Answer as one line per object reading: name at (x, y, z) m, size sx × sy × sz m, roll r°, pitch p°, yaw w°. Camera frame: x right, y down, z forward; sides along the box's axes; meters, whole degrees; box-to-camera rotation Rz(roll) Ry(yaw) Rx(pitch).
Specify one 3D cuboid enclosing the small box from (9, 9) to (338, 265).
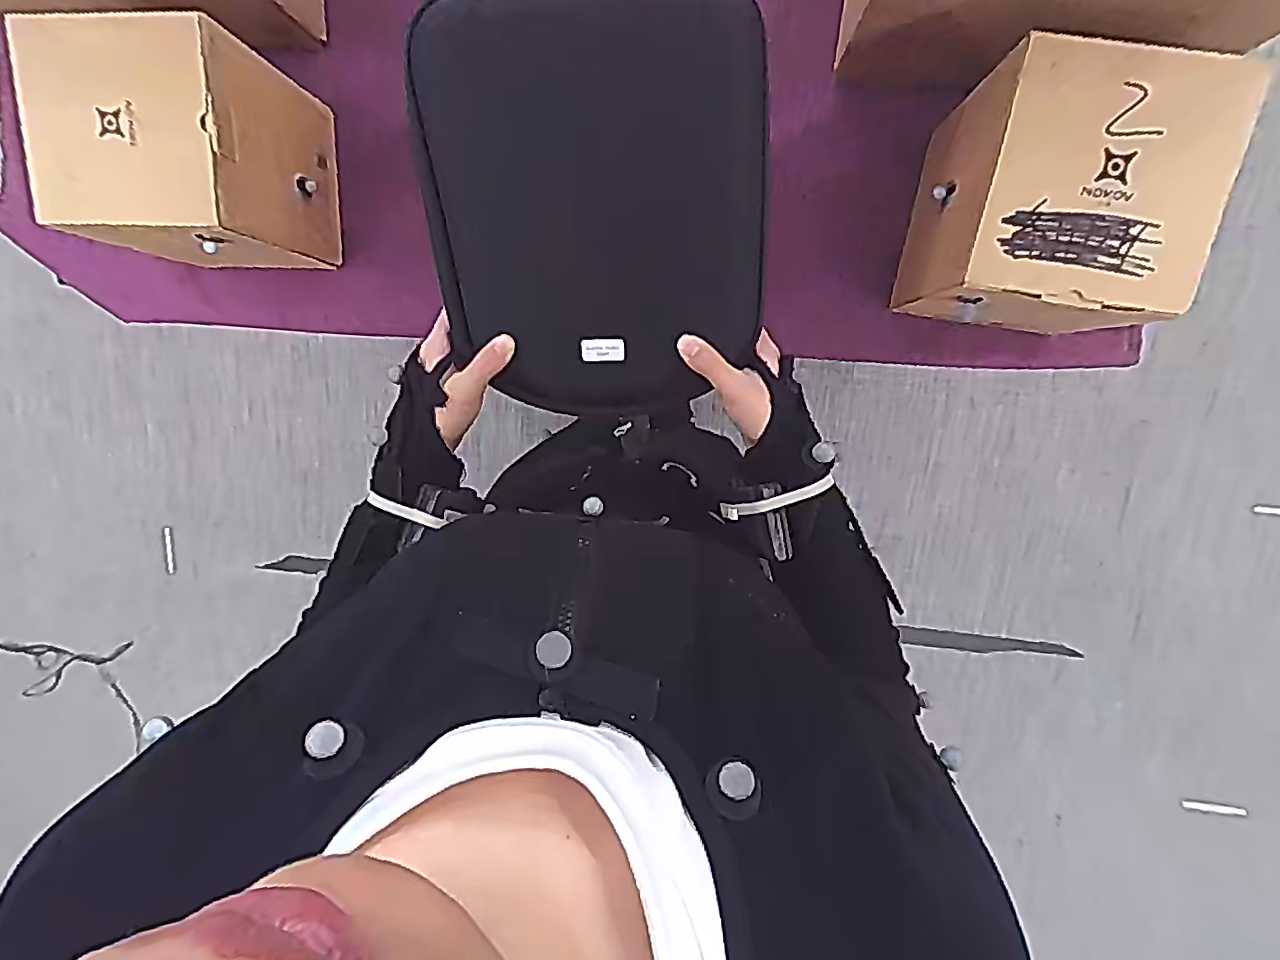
small box at (-0.435, -0.316, 0.534) m, size 0.179 × 0.176 × 0.168 m, roll 2°, pitch 100°, yaw 4°
